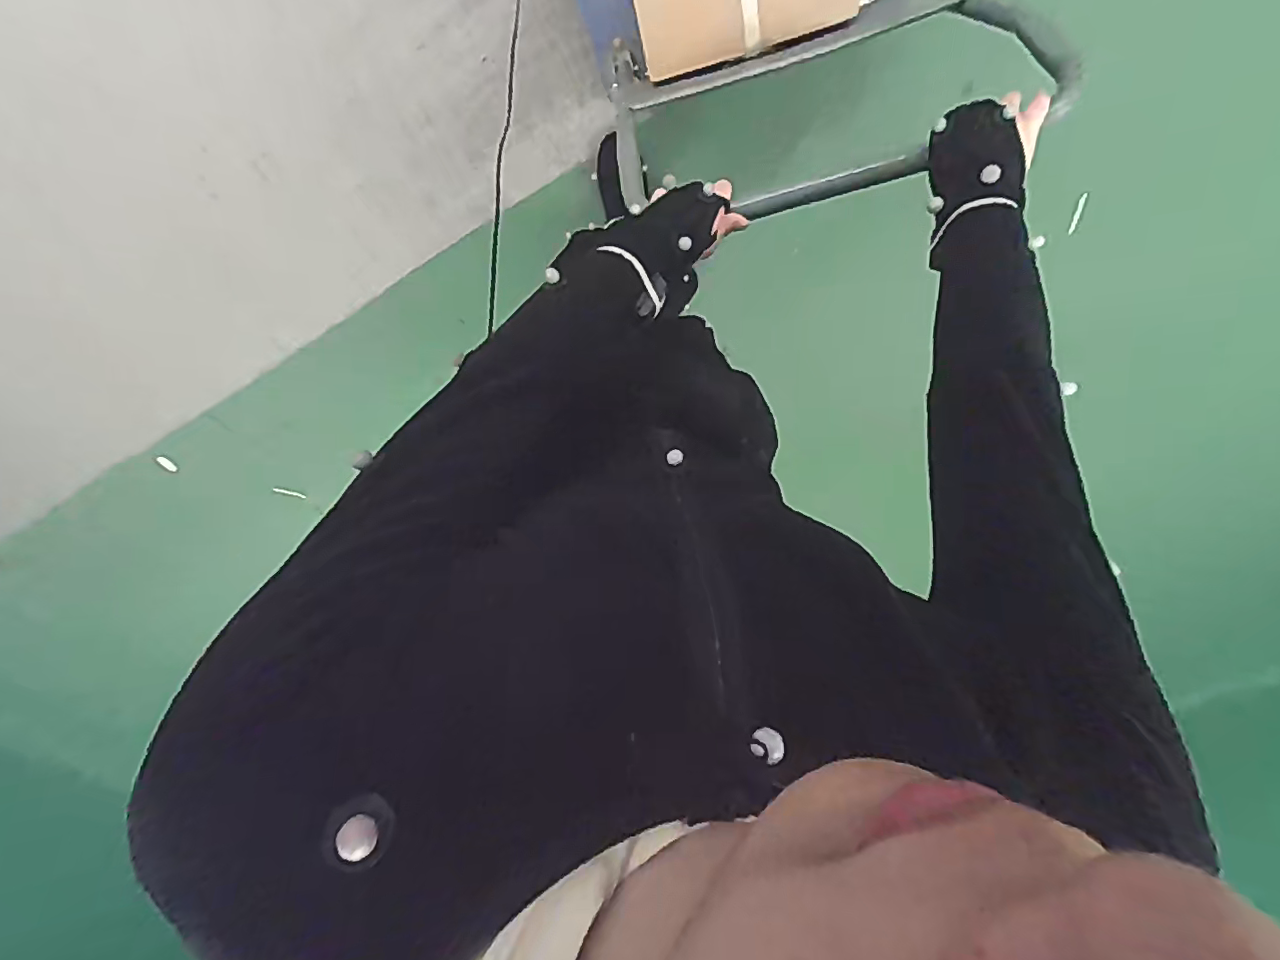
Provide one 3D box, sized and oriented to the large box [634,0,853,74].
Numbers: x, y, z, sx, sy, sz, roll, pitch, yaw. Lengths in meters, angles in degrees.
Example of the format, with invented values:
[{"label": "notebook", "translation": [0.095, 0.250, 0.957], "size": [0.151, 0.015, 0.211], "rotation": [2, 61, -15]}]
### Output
[{"label": "large box", "translation": [0.115, -0.900, 0.797], "size": [0.320, 0.320, 0.408], "rotation": [-11, 131, 10]}]
